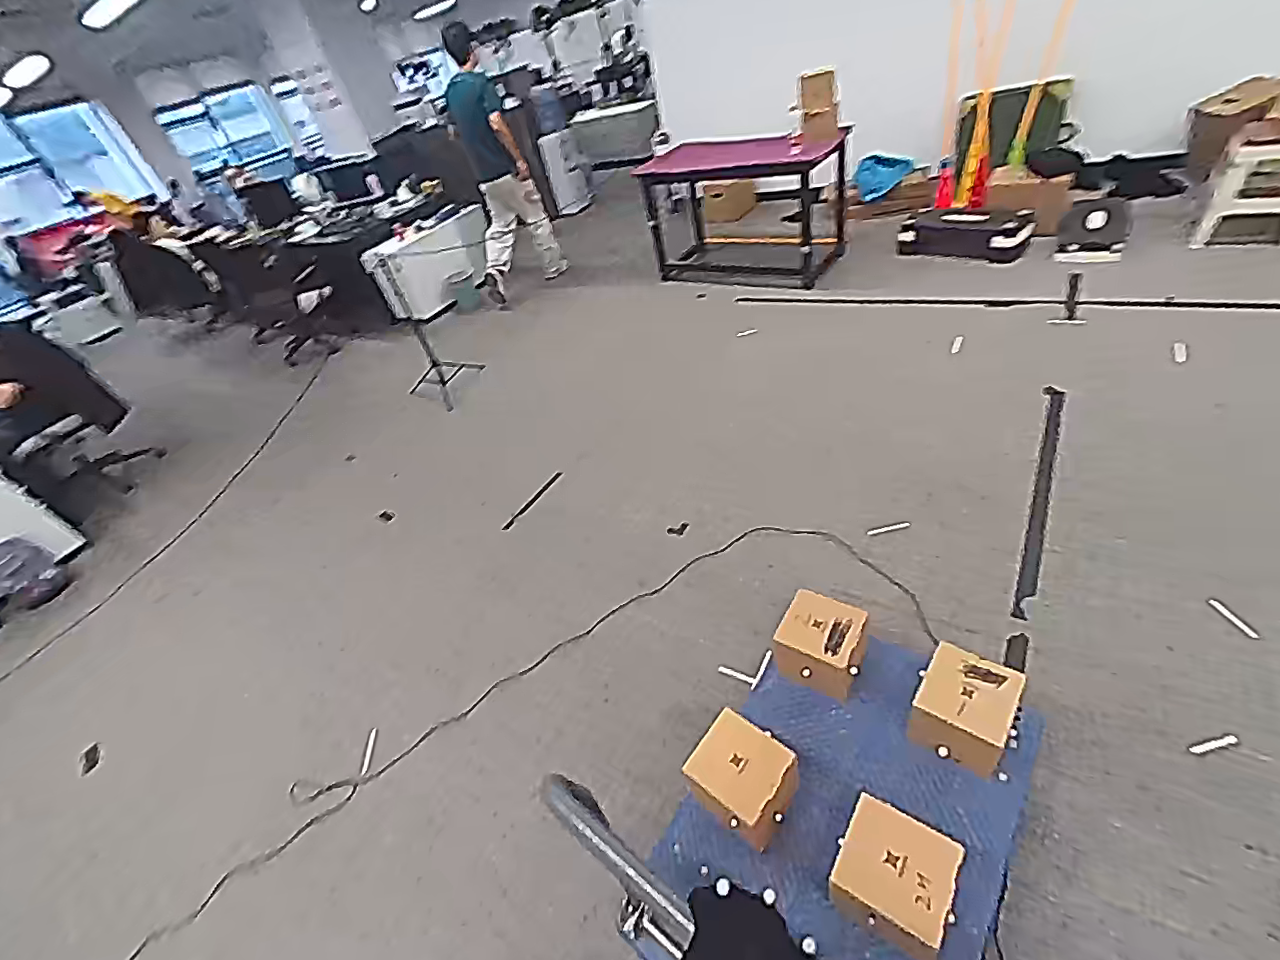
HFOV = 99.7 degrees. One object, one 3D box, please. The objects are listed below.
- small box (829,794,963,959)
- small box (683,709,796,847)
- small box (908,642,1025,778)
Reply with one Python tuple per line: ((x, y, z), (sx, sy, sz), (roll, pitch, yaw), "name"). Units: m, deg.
((0.457, 0.720, 0.978), (0.179, 0.176, 0.168), (17, 50, 34), "small box")
((0.217, 0.640, 1.157), (0.179, 0.176, 0.168), (23, 53, 36), "small box")
((0.691, 0.492, 1.160), (0.168, 0.176, 0.179), (20, 53, 36), "small box")
